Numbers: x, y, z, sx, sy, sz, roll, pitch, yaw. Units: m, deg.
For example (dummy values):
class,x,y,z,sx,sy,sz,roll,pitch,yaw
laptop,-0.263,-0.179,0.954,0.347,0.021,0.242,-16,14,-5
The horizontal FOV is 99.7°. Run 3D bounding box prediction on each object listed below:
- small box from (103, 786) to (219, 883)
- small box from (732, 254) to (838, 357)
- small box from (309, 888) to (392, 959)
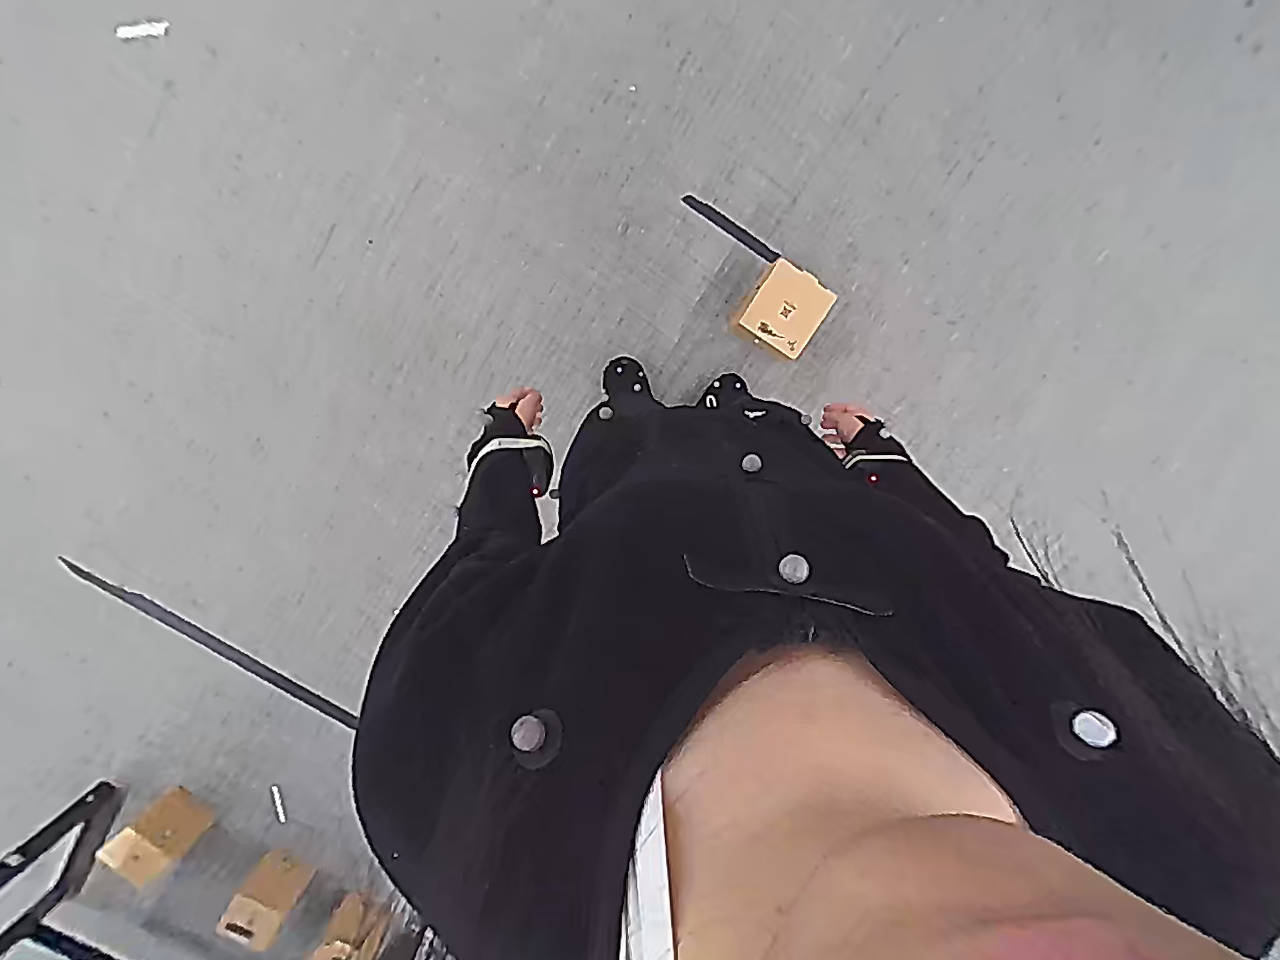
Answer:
class,x,y,z,sx,sy,sz,roll,pitch,yaw
small box,-1.513,1.114,1.719,0.168,0.176,0.179,-39,101,8
small box,0.346,-0.422,1.336,0.168,0.176,0.179,31,100,-7
small box,-0.963,1.523,1.808,0.168,0.176,0.179,34,103,-7
